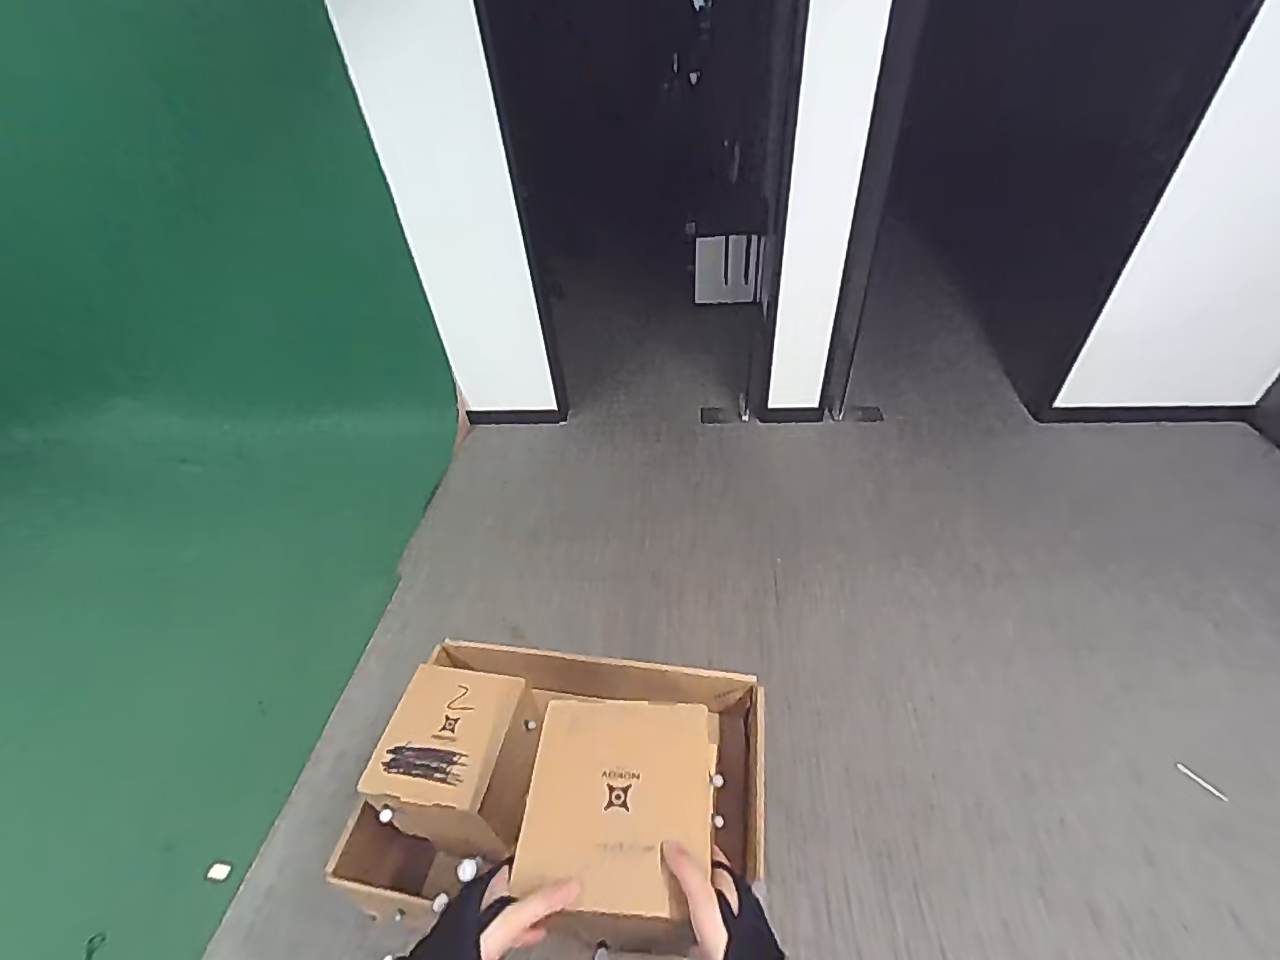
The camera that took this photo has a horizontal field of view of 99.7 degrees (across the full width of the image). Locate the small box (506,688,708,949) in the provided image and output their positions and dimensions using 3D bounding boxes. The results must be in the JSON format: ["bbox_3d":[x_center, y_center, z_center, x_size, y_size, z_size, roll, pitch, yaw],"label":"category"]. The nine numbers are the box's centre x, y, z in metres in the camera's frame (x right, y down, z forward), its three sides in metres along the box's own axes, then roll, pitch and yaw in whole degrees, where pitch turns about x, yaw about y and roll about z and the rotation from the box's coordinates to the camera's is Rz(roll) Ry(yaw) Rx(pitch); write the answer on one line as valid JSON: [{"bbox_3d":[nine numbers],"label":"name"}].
[{"bbox_3d":[-0.017,0.337,0.546,0.168,0.176,0.179,-1,41,7],"label":"small box"}]
